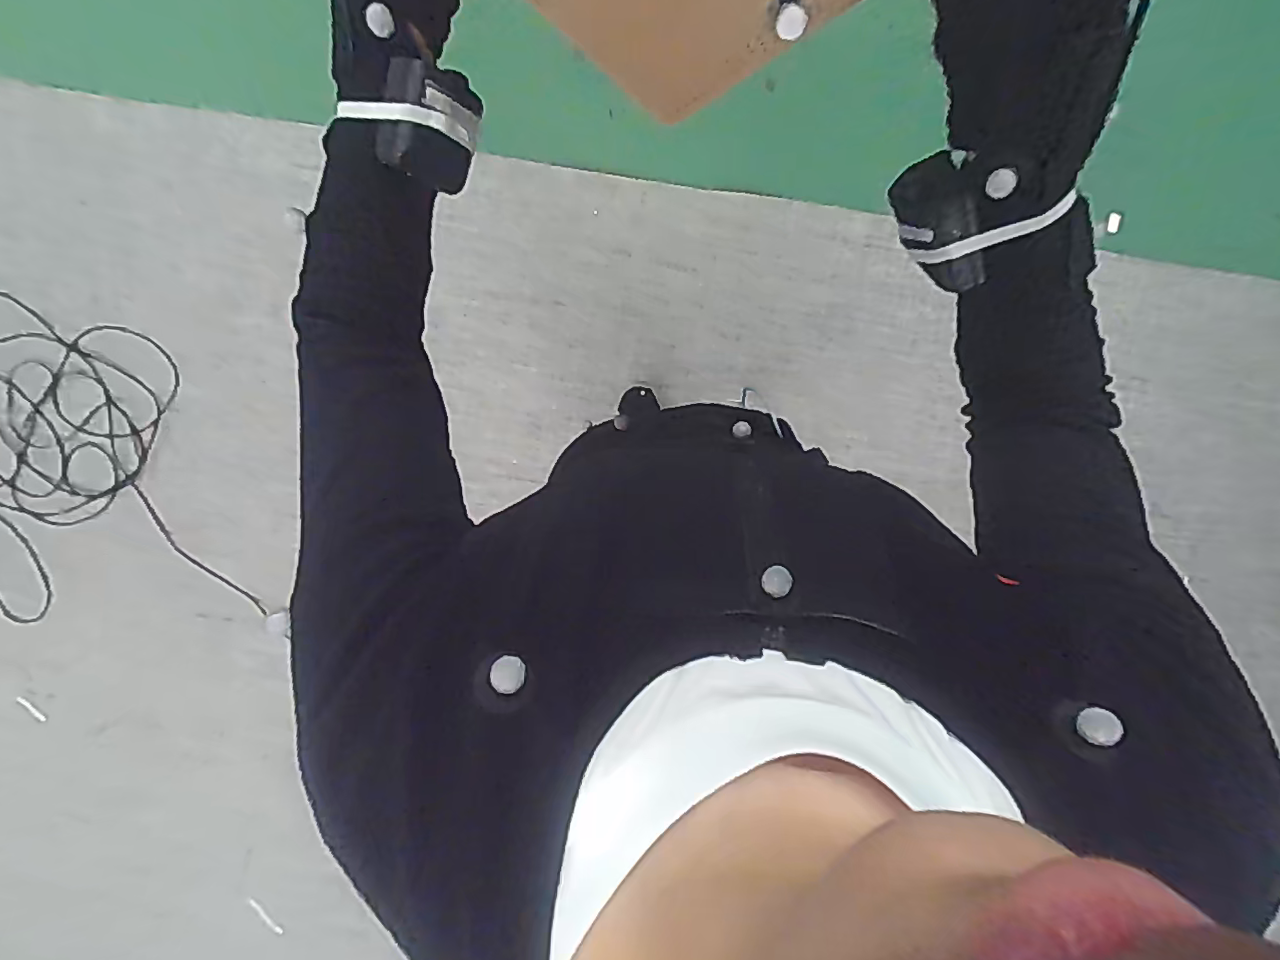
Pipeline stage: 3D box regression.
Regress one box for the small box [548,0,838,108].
[{"bbox_3d":[0.027,-0.318,0.238,0.179,0.176,0.168,-19,93,28],"label":"small box"}]
